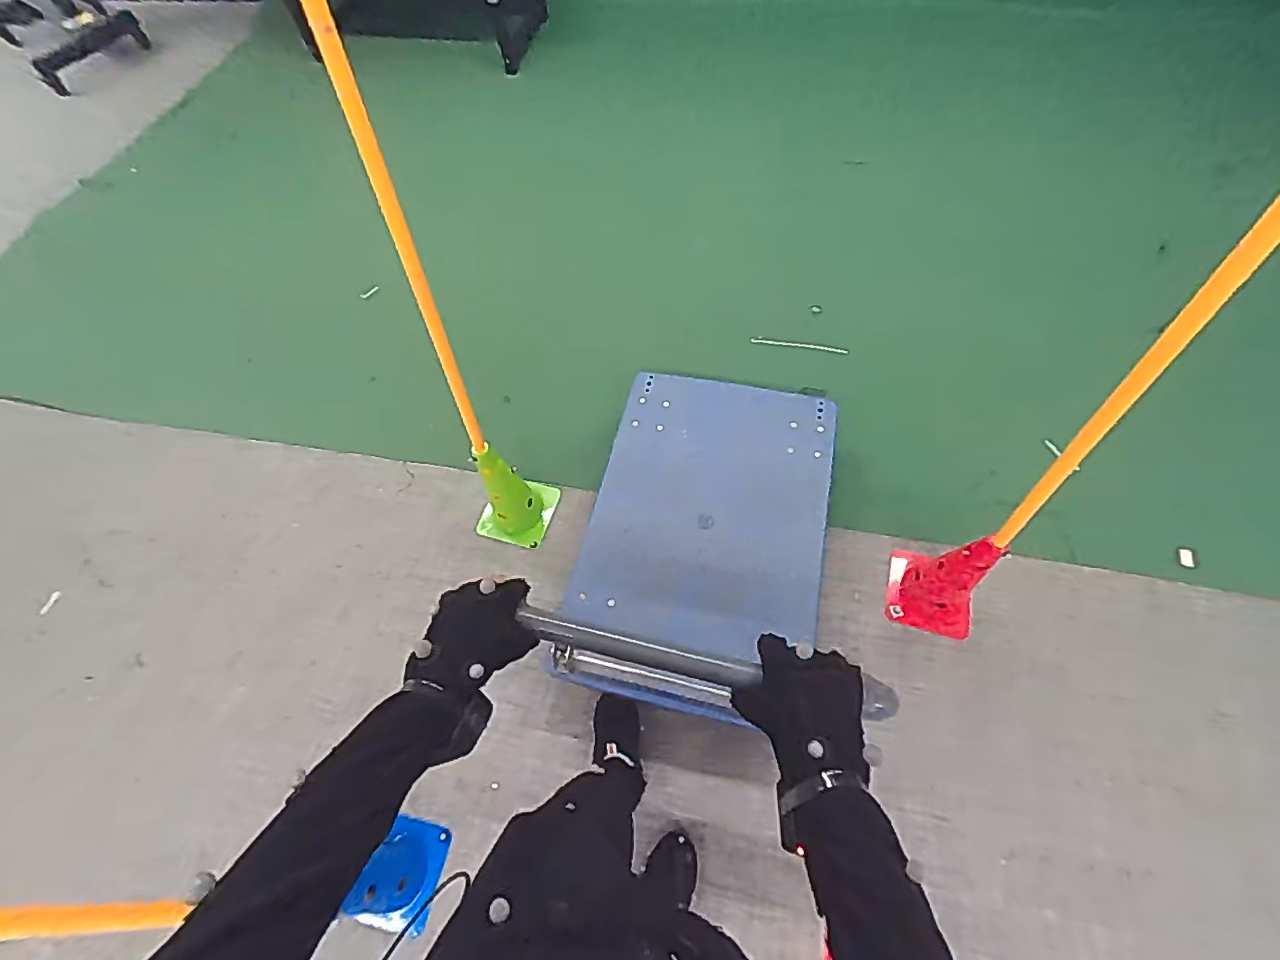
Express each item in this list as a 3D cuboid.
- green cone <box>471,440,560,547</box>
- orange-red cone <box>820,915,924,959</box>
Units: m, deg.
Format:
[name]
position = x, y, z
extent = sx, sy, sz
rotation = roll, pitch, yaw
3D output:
[green cone]
position = -0.366, 0.006, 1.445
extent = 0.202, 0.368, 0.200
rotation = 13, 63, 12
[orange-red cone]
position = 0.435, 0.903, 0.902
extent = 0.199, 0.360, 0.198
rotation = 8, 62, 10
